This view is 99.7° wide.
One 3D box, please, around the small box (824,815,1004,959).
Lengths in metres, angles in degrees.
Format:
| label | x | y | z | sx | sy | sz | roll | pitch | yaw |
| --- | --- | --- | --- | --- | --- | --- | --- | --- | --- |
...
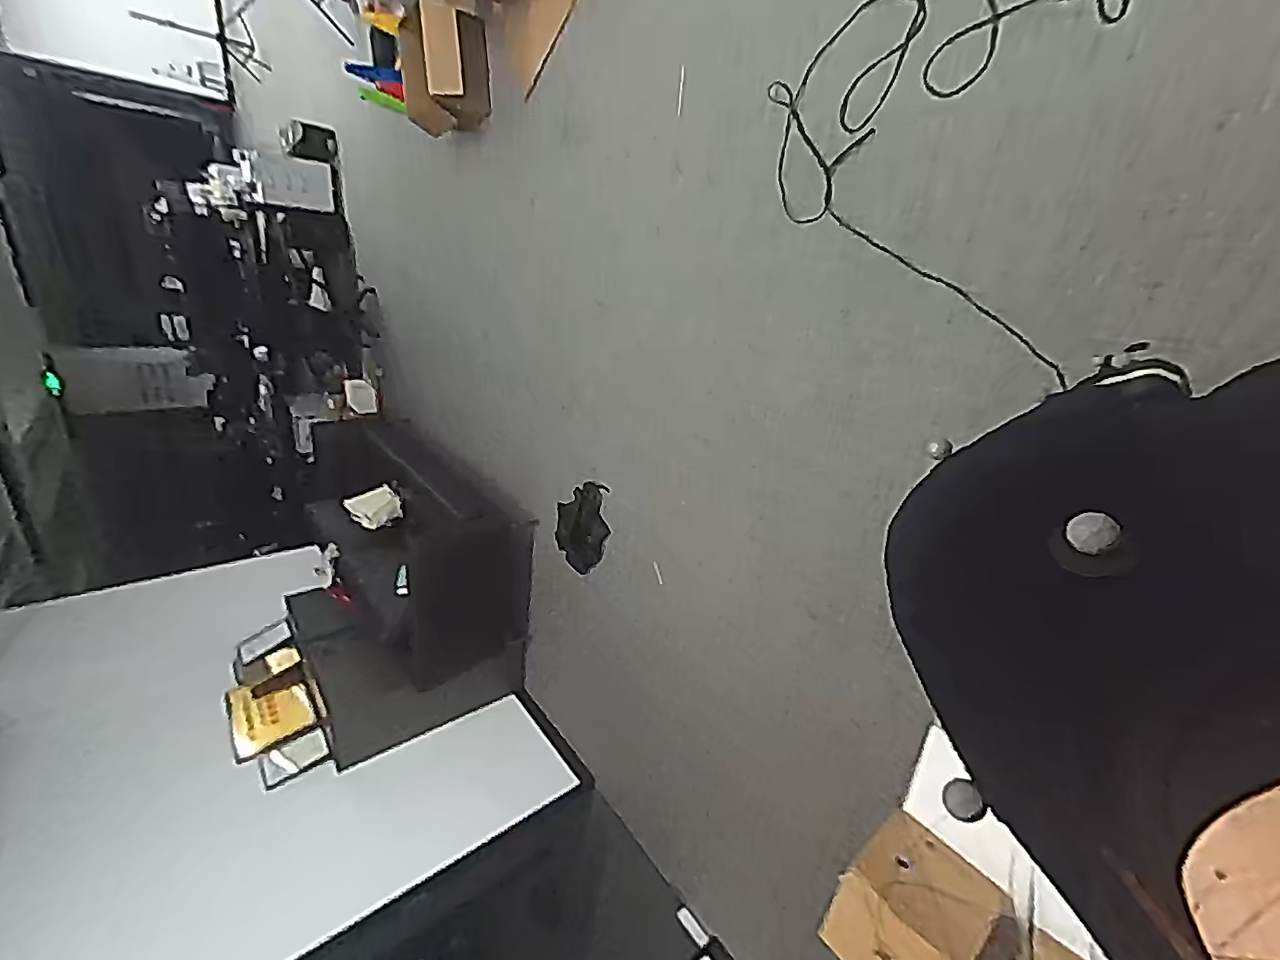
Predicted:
| label | x | y | z | sx | sy | sz | roll | pitch | yaw |
| --- | --- | --- | --- | --- | --- | --- | --- | --- | --- |
| small box | 0.412 | 0.658 | 0.813 | 0.168 | 0.176 | 0.179 | 31 | 123 | 44 |
